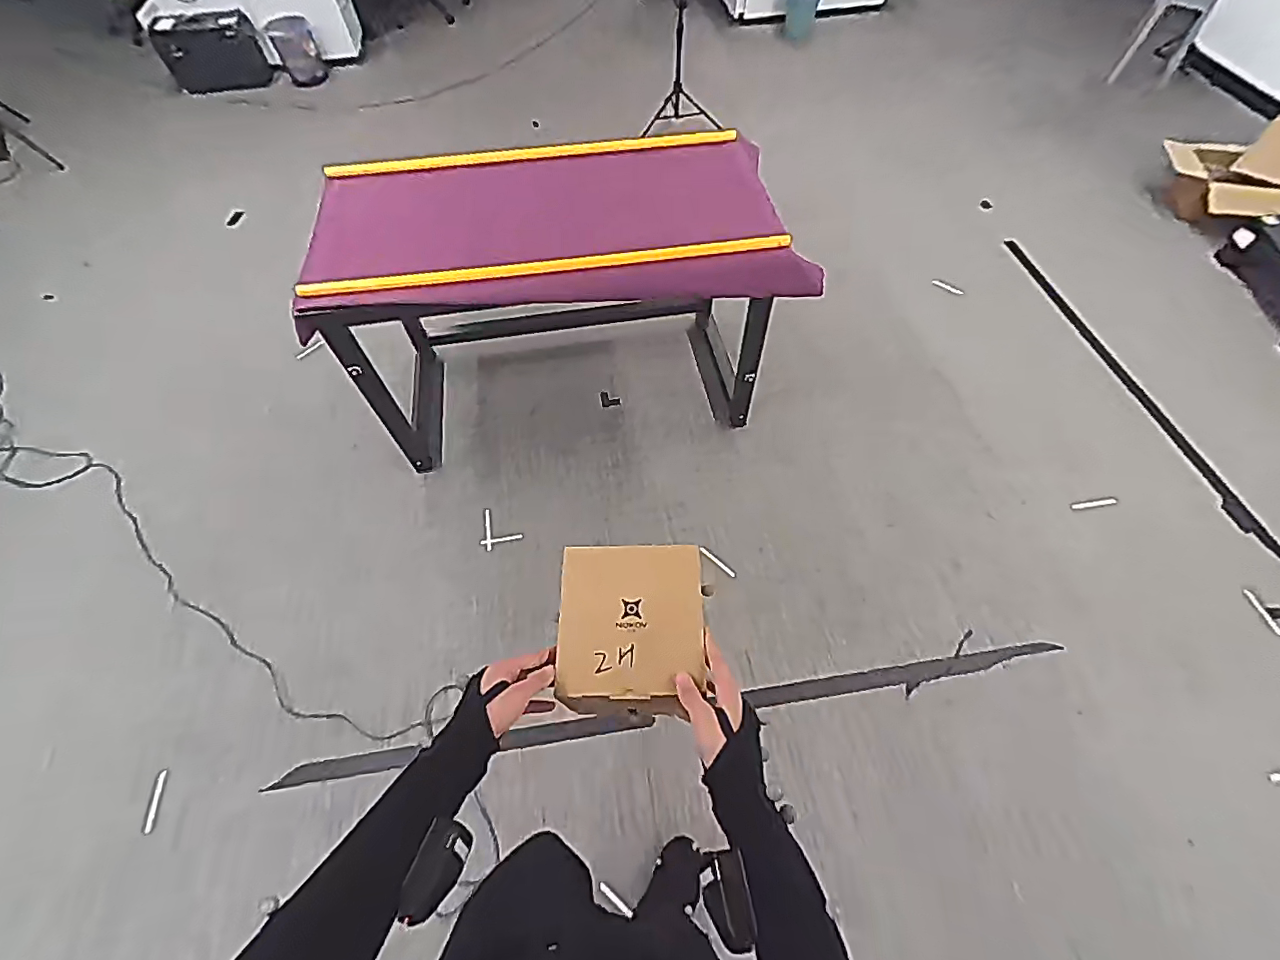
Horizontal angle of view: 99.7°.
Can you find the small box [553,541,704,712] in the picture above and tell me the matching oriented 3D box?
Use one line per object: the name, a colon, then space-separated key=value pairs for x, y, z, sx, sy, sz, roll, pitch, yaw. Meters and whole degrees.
small box: x=-0.009 y=0.191 z=0.688 sx=0.168 sy=0.176 sz=0.179 roll=-2 pitch=61 yaw=3
